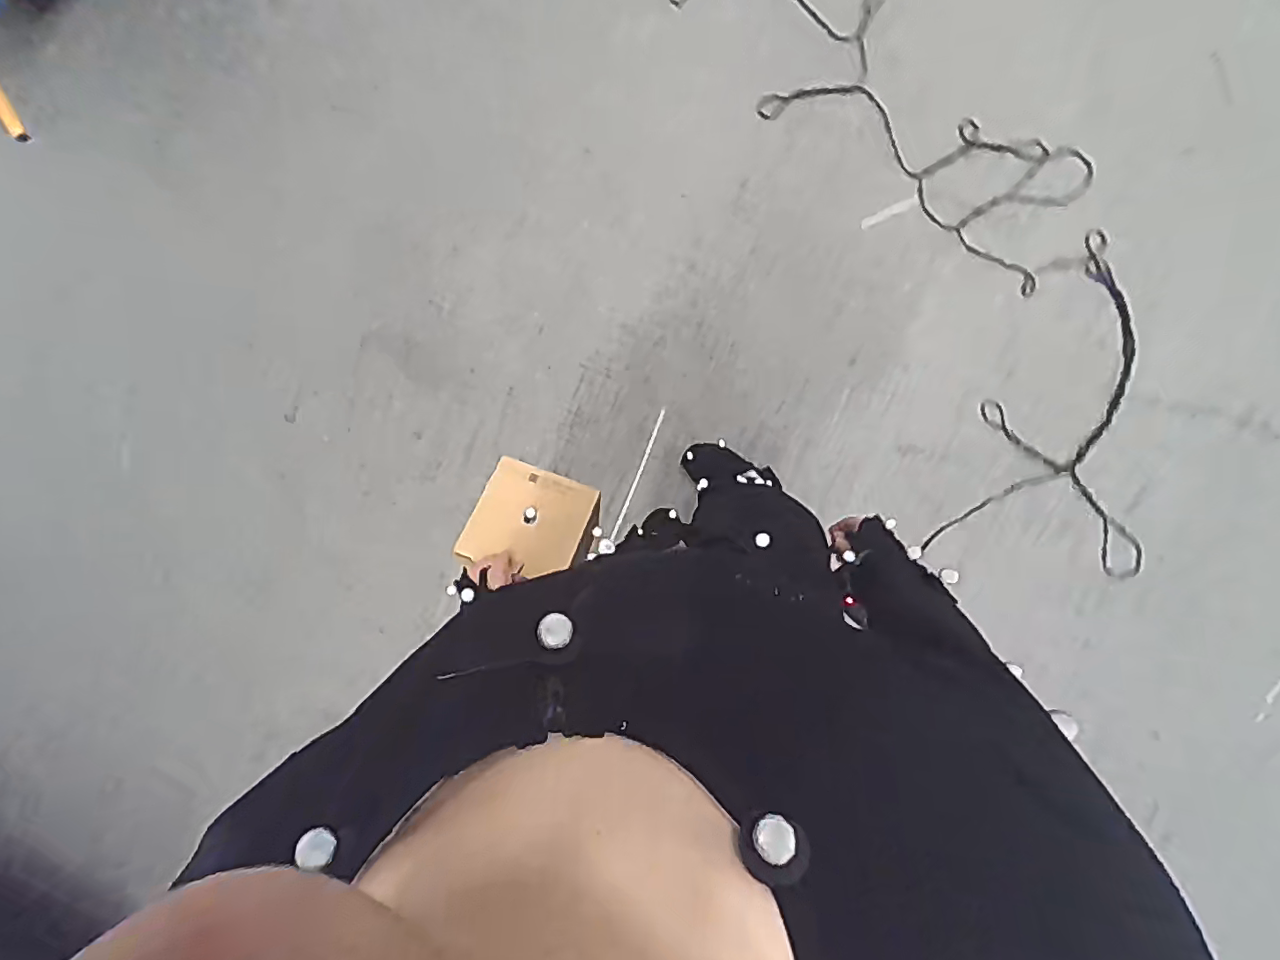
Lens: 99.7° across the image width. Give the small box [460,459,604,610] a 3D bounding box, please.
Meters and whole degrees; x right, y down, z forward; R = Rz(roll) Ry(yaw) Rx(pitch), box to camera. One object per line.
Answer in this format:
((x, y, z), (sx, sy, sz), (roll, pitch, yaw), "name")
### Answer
((-0.163, 0.089, 0.877), (0.168, 0.179, 0.176), (20, 66, 4), "small box")
